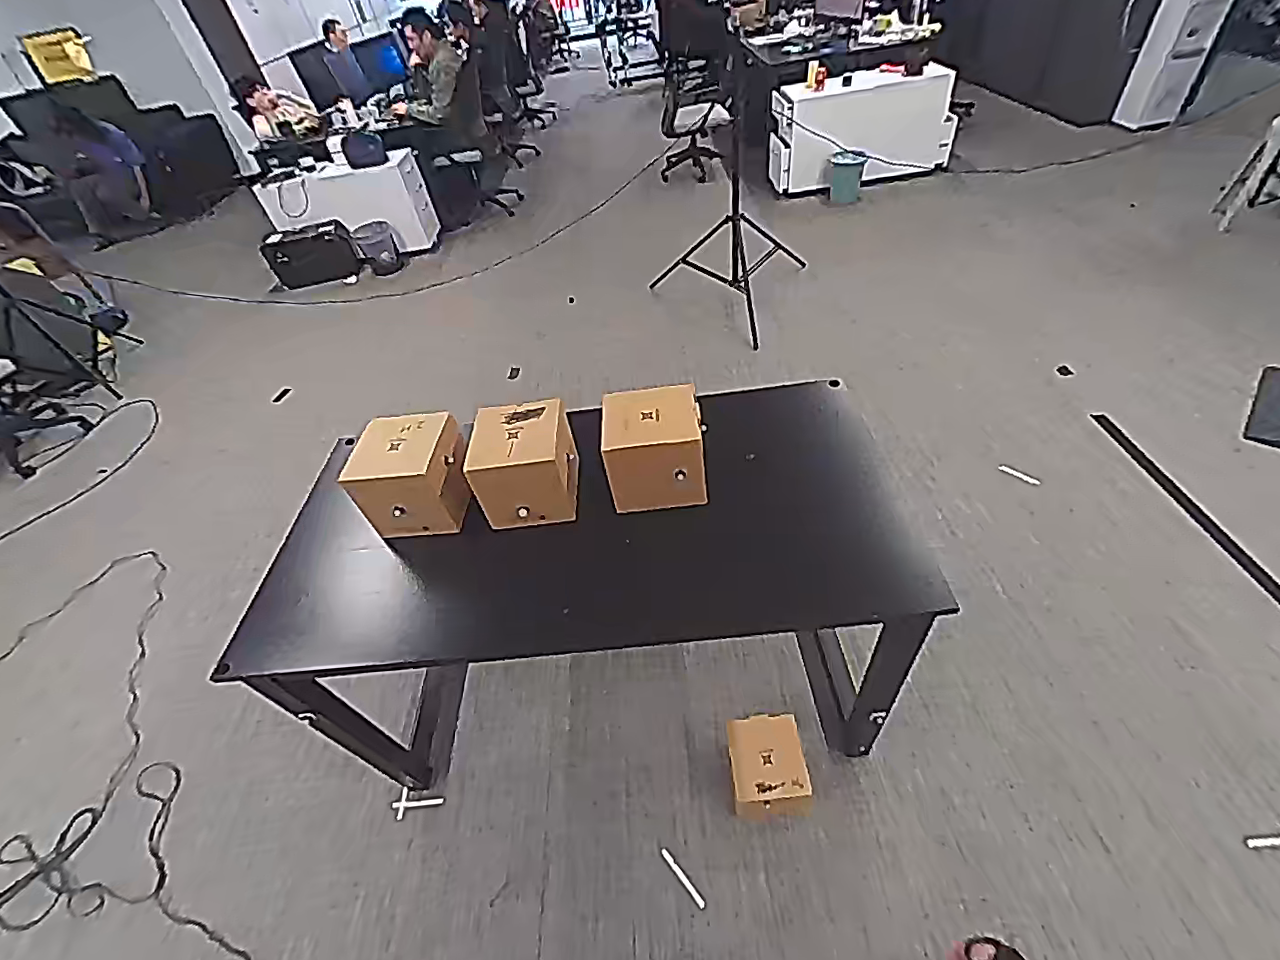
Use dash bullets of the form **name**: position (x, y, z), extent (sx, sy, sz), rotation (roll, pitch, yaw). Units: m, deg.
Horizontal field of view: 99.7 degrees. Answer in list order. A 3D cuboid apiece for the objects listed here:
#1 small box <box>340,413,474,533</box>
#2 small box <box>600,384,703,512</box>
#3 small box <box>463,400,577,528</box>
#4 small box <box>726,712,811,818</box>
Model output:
- **small box**: position (-0.443, -0.007, 1.067), extent (0.168, 0.176, 0.179), rotation (-4, 45, 5)
- **small box**: position (0.026, -0.058, 1.032), extent (0.179, 0.176, 0.168), rotation (-8, 44, 5)
- **small box**: position (-0.221, -0.030, 1.048), extent (0.168, 0.176, 0.179), rotation (-7, 46, 4)
- **small box**: position (0.297, 0.679, 1.286), extent (0.168, 0.176, 0.179), rotation (-8, 45, 4)
